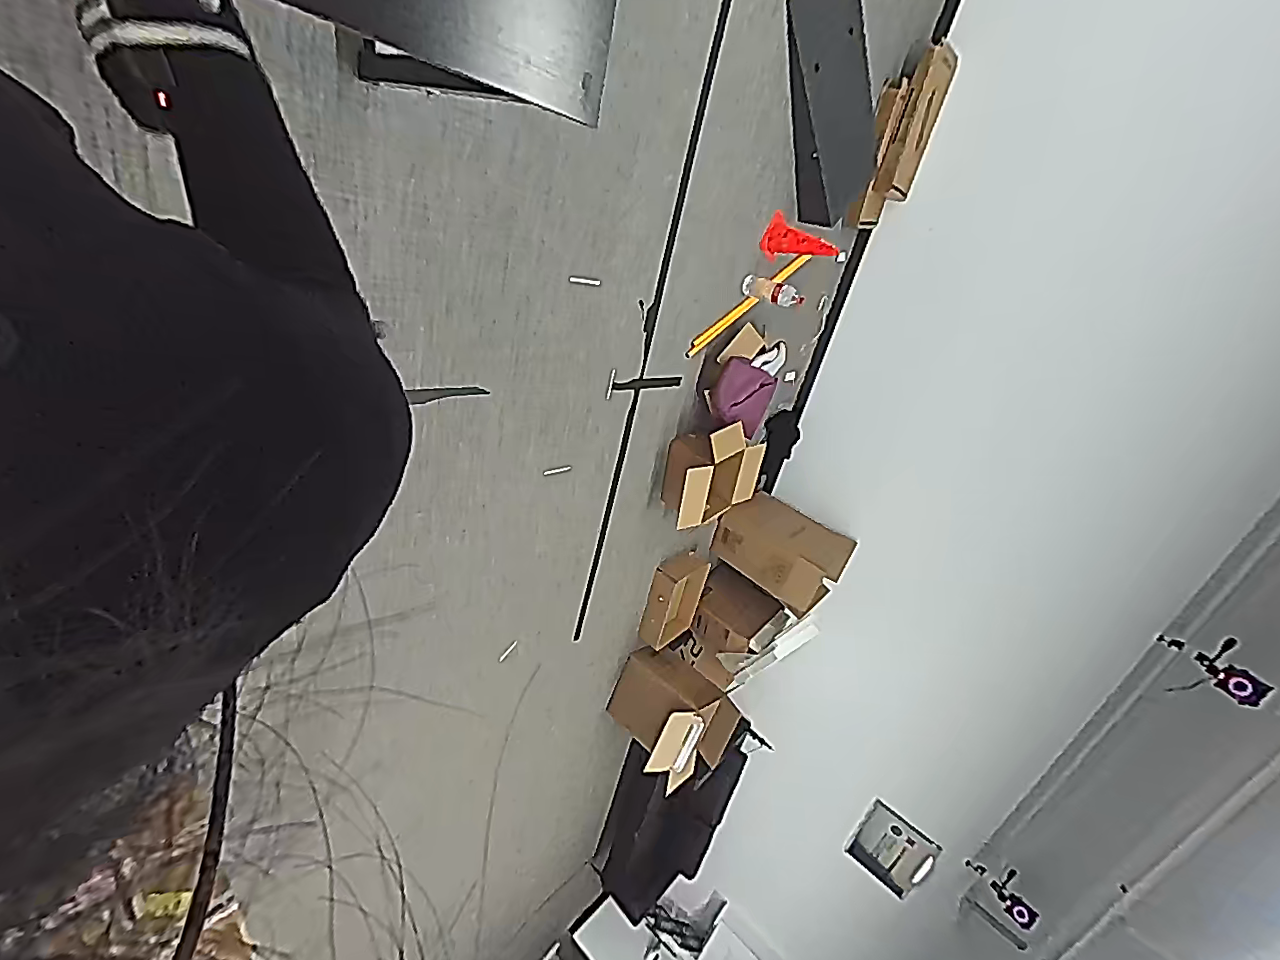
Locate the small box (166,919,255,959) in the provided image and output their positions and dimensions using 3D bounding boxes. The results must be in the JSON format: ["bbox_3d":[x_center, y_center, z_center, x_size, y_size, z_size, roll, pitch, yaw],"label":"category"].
[{"bbox_3d":[-1.094,1.290,1.384,0.168,0.176,0.179,-19,127,-49],"label":"small box"}]
